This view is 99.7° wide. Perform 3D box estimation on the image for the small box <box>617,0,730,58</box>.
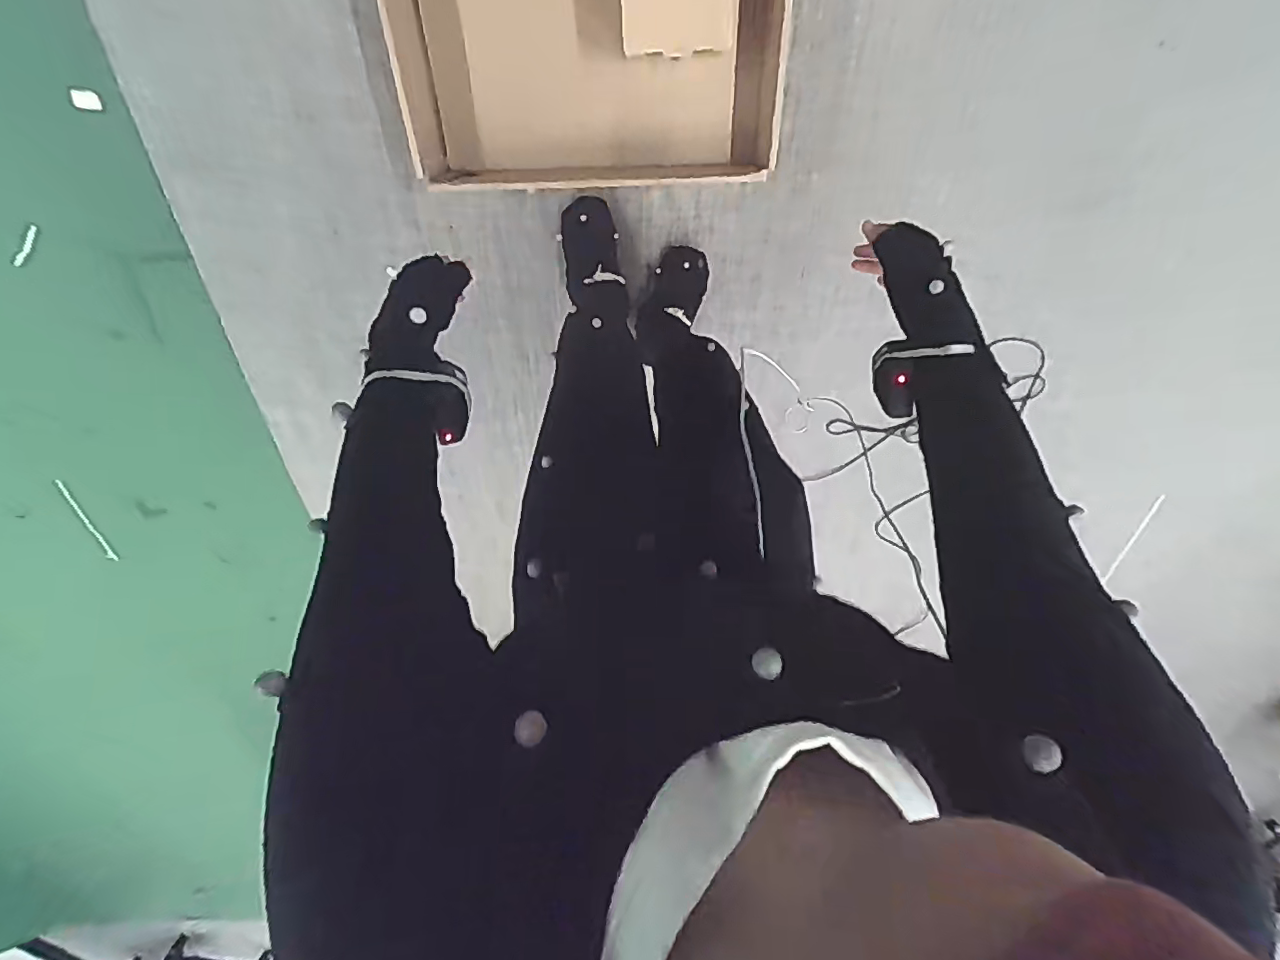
[{"bbox_3d":[0.049,-0.765,0.828,0.168,0.176,0.179,-4,125,4],"label":"small box"}]
